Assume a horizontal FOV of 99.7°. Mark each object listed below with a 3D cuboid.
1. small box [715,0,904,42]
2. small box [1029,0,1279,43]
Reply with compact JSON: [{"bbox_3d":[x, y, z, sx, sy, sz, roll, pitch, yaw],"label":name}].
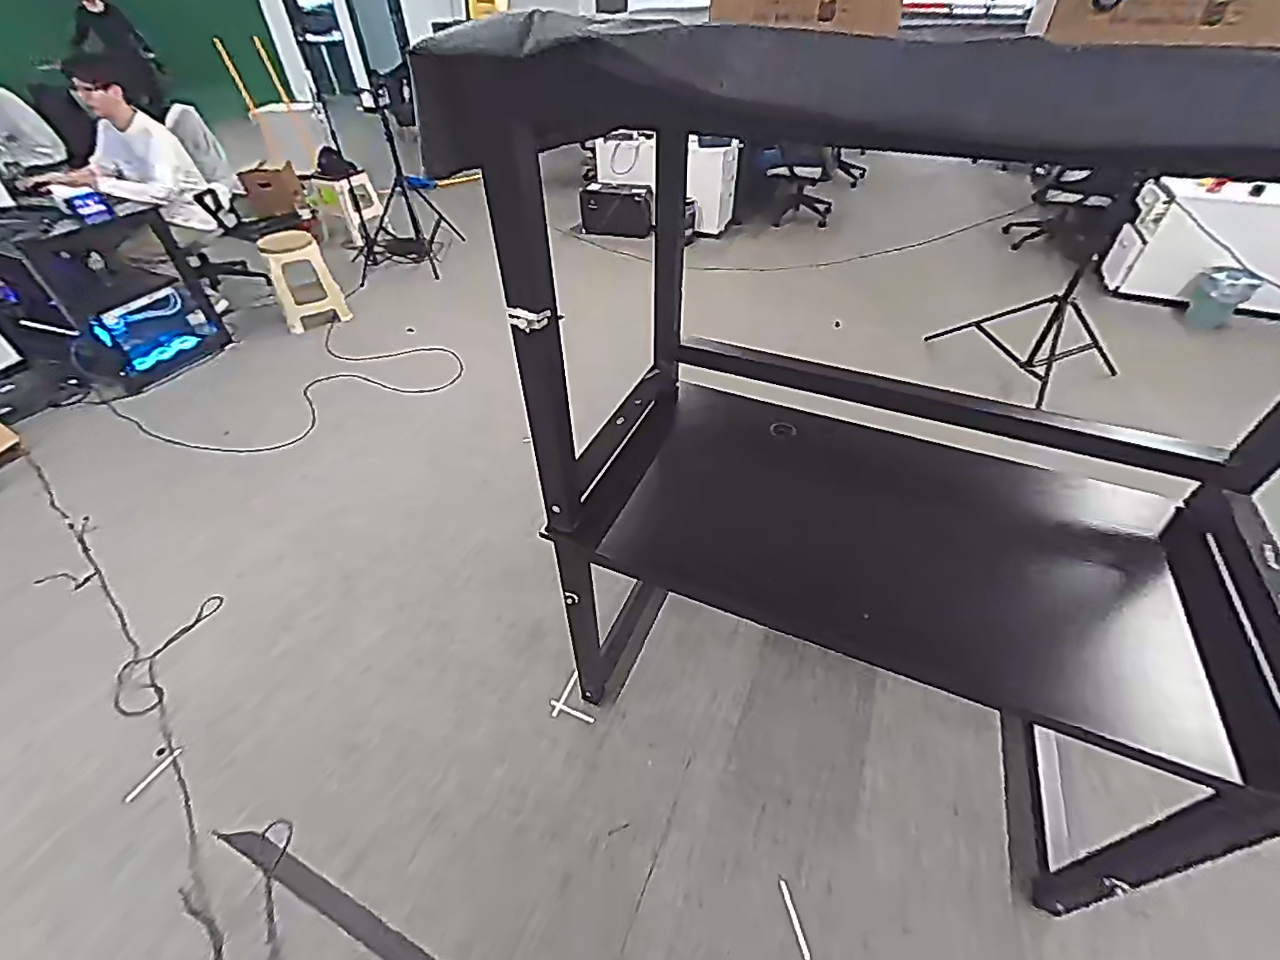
[{"bbox_3d":[0.166,-0.512,0.490,0.168,0.176,0.179,10,43,12],"label":"small box"},{"bbox_3d":[0.435,-0.448,0.418,0.168,0.176,0.179,16,44,17],"label":"small box"}]
